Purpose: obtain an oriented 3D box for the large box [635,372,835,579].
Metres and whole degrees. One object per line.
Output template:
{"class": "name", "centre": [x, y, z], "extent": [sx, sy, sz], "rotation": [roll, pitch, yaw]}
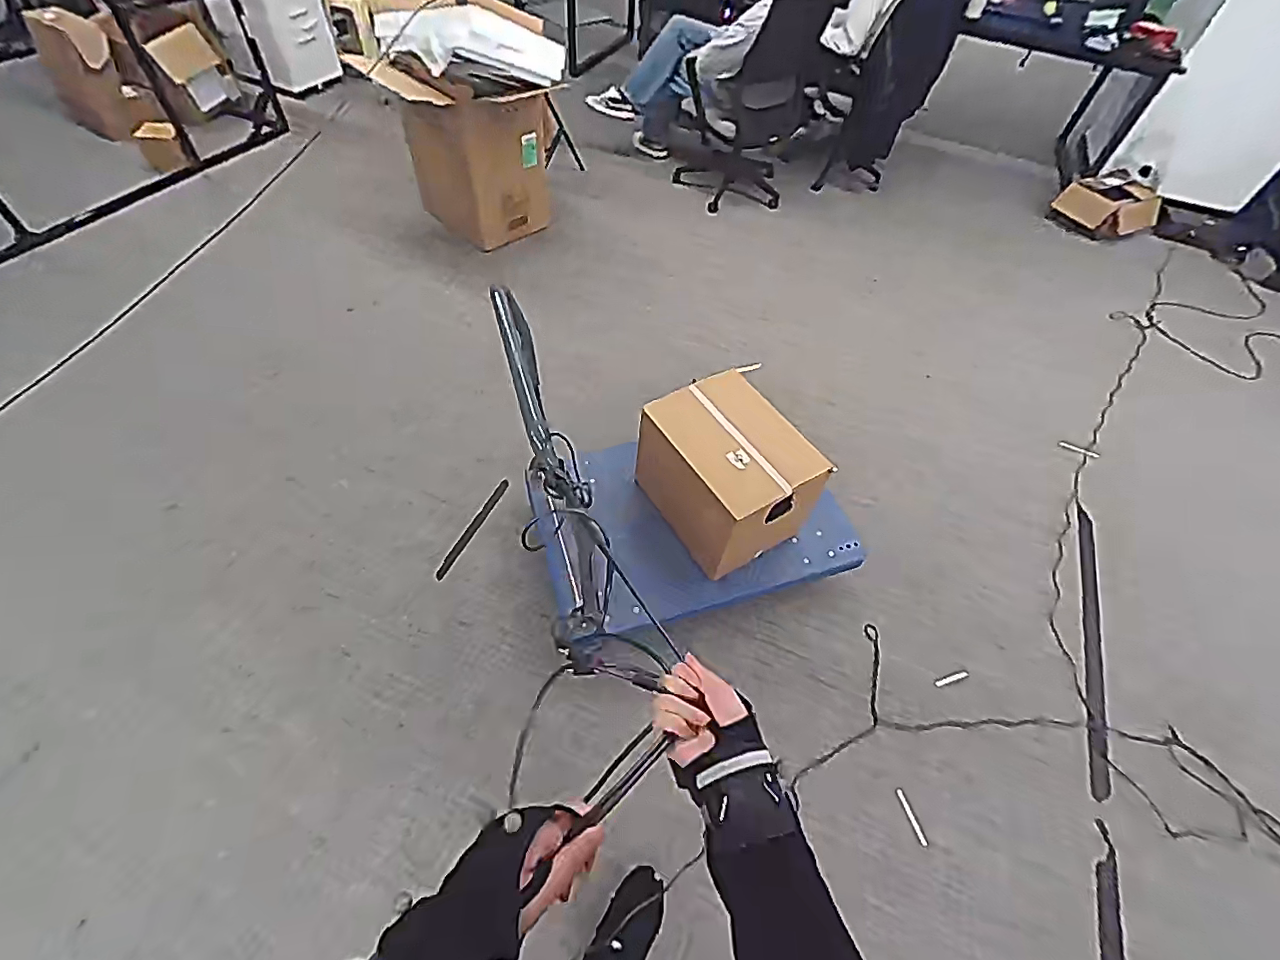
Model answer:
{"class": "large box", "centre": [0.228, -0.016, 1.463], "extent": [0.320, 0.320, 0.408], "rotation": [-26, 61, -21]}
